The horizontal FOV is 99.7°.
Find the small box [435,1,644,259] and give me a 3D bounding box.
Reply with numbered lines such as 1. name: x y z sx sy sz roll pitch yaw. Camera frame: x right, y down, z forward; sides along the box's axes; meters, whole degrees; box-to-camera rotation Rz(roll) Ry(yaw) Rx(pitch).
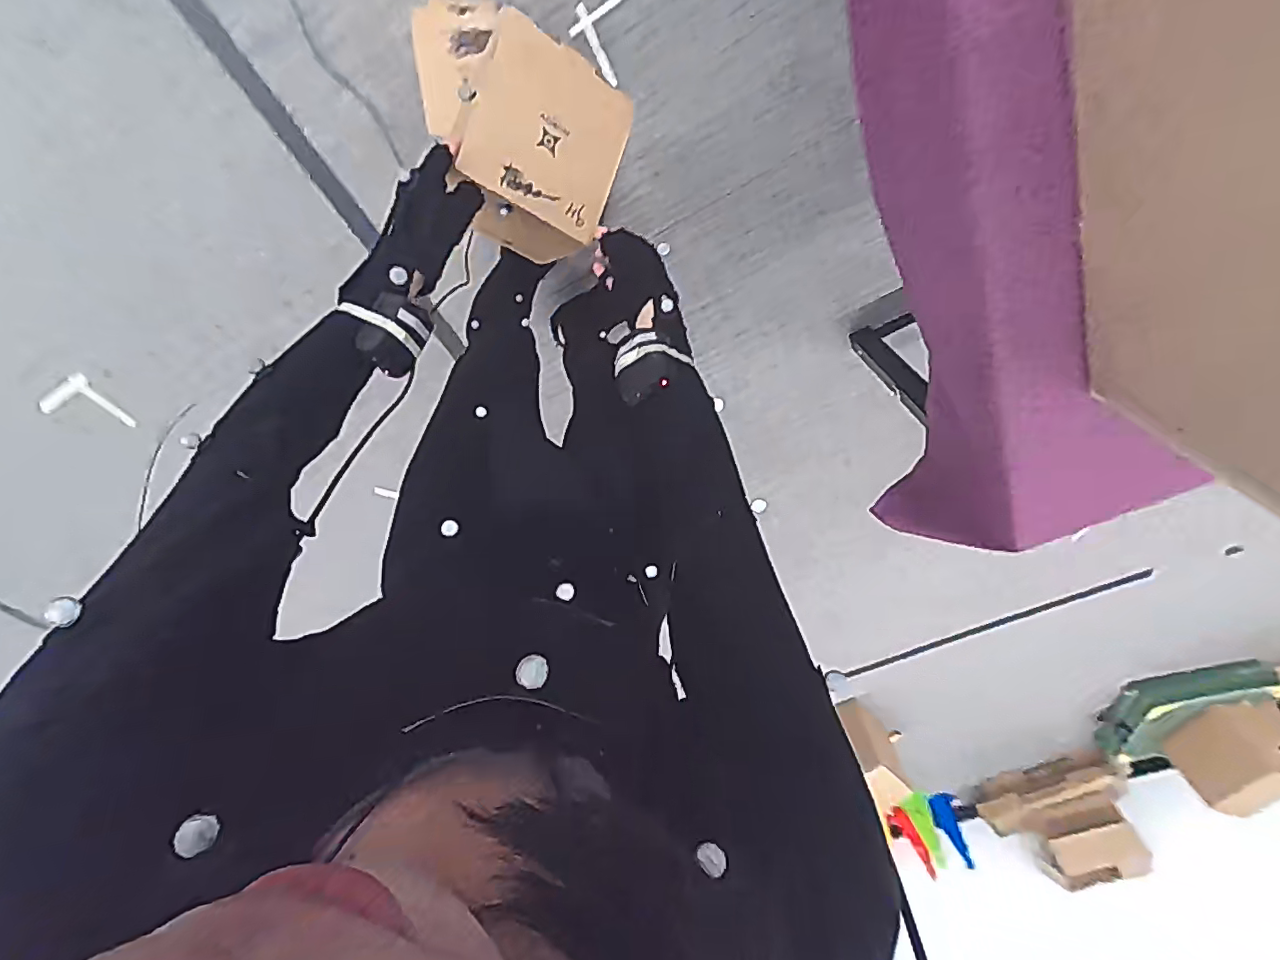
1. small box: -0.129 -0.390 0.646 0.168 0.176 0.179 20 93 -33

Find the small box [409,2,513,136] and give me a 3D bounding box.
1. small box: -0.289 -0.714 0.954 0.168 0.176 0.179 0 128 -6
